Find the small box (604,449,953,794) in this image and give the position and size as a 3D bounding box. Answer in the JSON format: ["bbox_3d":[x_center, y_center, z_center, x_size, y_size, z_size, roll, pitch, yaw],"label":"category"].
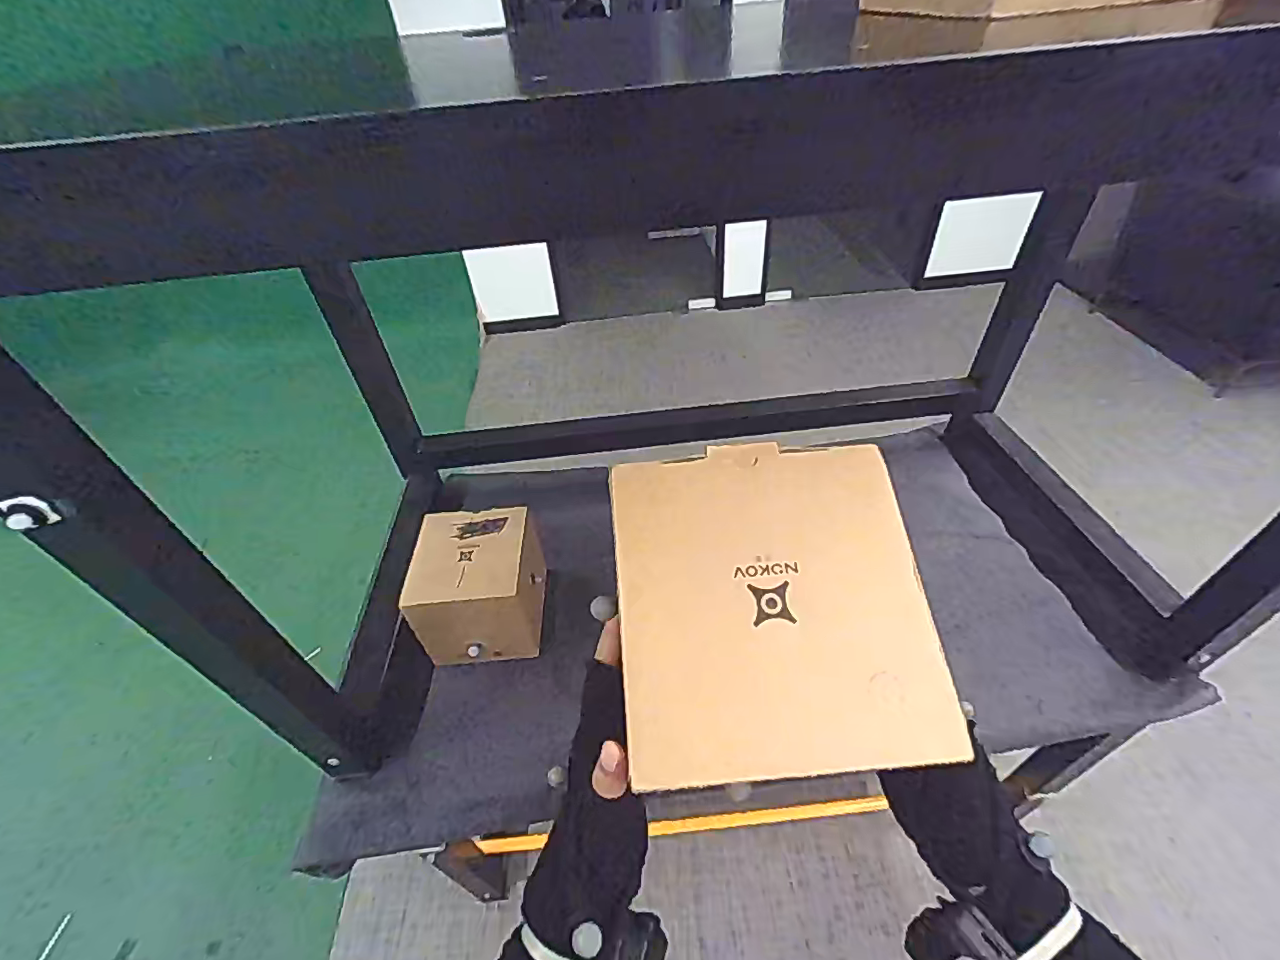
[{"bbox_3d":[0.067,0.099,0.369,0.168,0.176,0.179,-5,64,-2],"label":"small box"}]

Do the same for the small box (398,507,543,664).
[{"bbox_3d":[-0.253,0.166,0.856,0.168,0.176,0.179,-5,43,0],"label":"small box"}]
